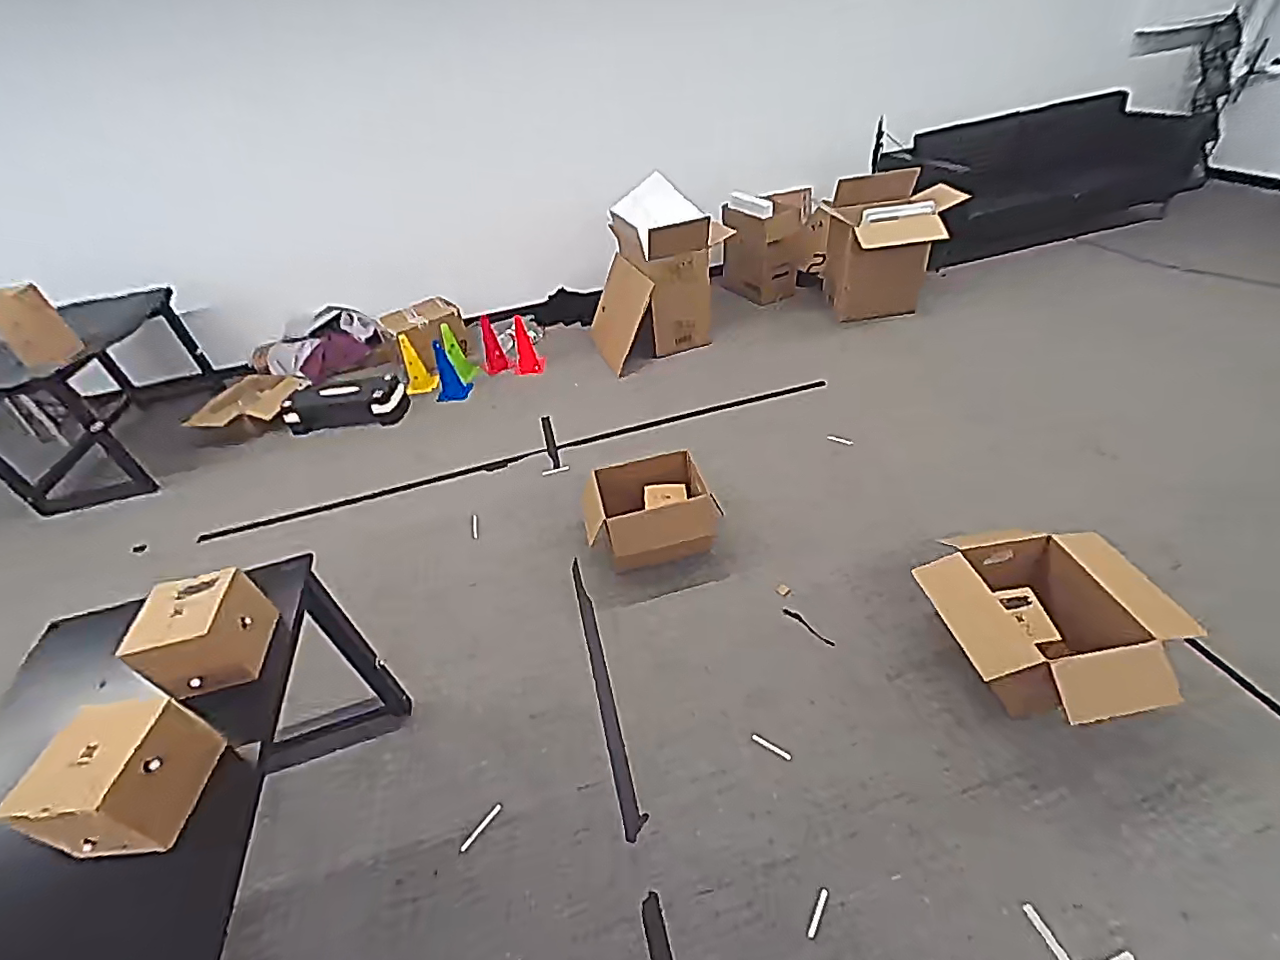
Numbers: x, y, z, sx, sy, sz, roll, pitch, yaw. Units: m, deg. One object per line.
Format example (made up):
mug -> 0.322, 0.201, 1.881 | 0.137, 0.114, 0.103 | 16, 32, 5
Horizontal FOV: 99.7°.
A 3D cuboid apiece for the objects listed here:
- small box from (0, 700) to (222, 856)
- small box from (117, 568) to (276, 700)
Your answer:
small box -> -0.853, 0.495, 0.900 | 0.168, 0.176, 0.179 | -7, 41, 3
small box -> -0.891, 0.316, 1.112 | 0.168, 0.176, 0.179 | -15, 42, -6
